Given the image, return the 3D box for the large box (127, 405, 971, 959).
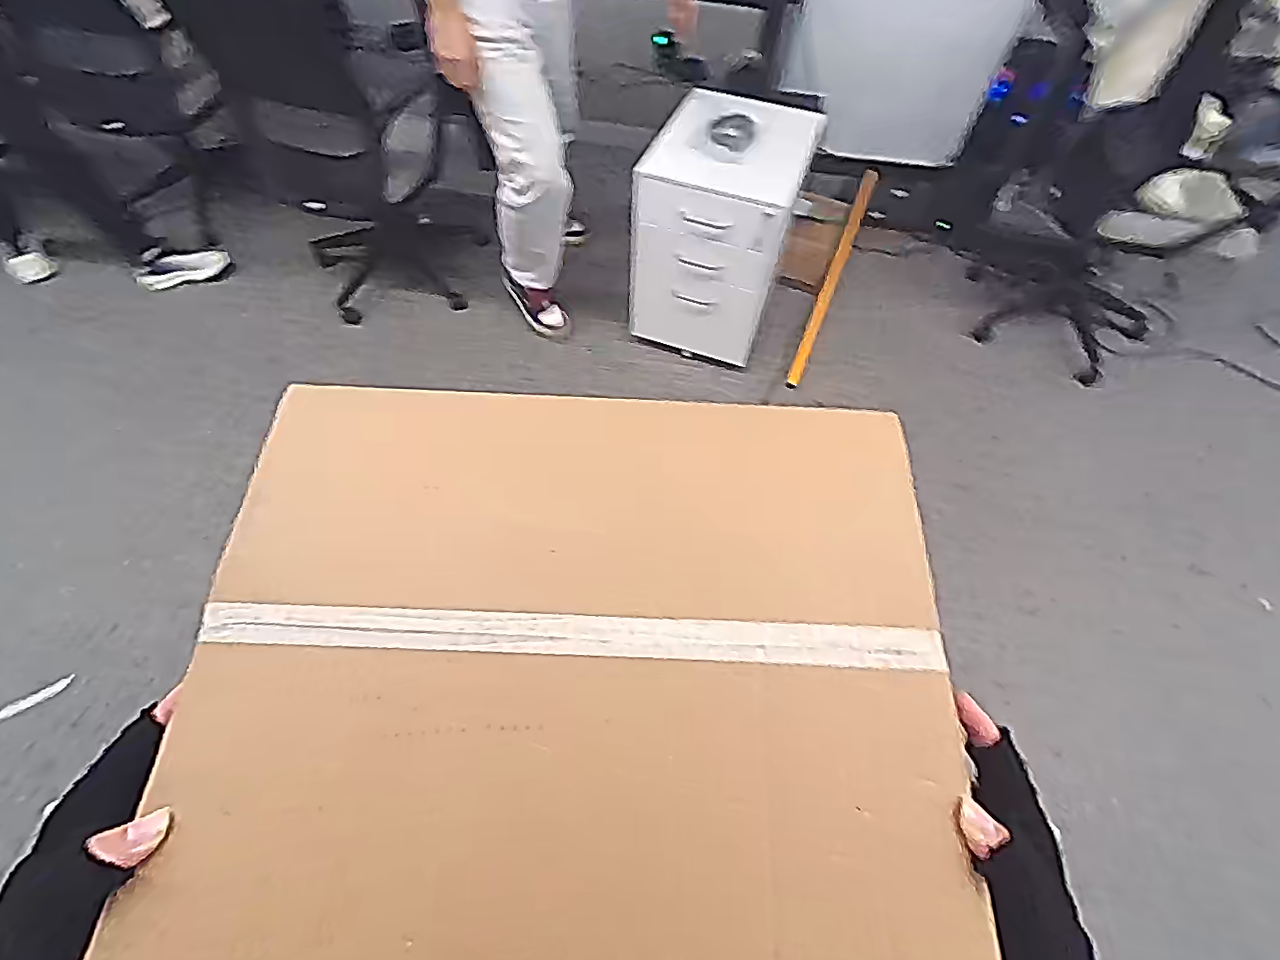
[{"bbox_3d":[-0.042,0.154,0.447,0.408,0.320,0.320,2,66,0],"label":"large box"}]
